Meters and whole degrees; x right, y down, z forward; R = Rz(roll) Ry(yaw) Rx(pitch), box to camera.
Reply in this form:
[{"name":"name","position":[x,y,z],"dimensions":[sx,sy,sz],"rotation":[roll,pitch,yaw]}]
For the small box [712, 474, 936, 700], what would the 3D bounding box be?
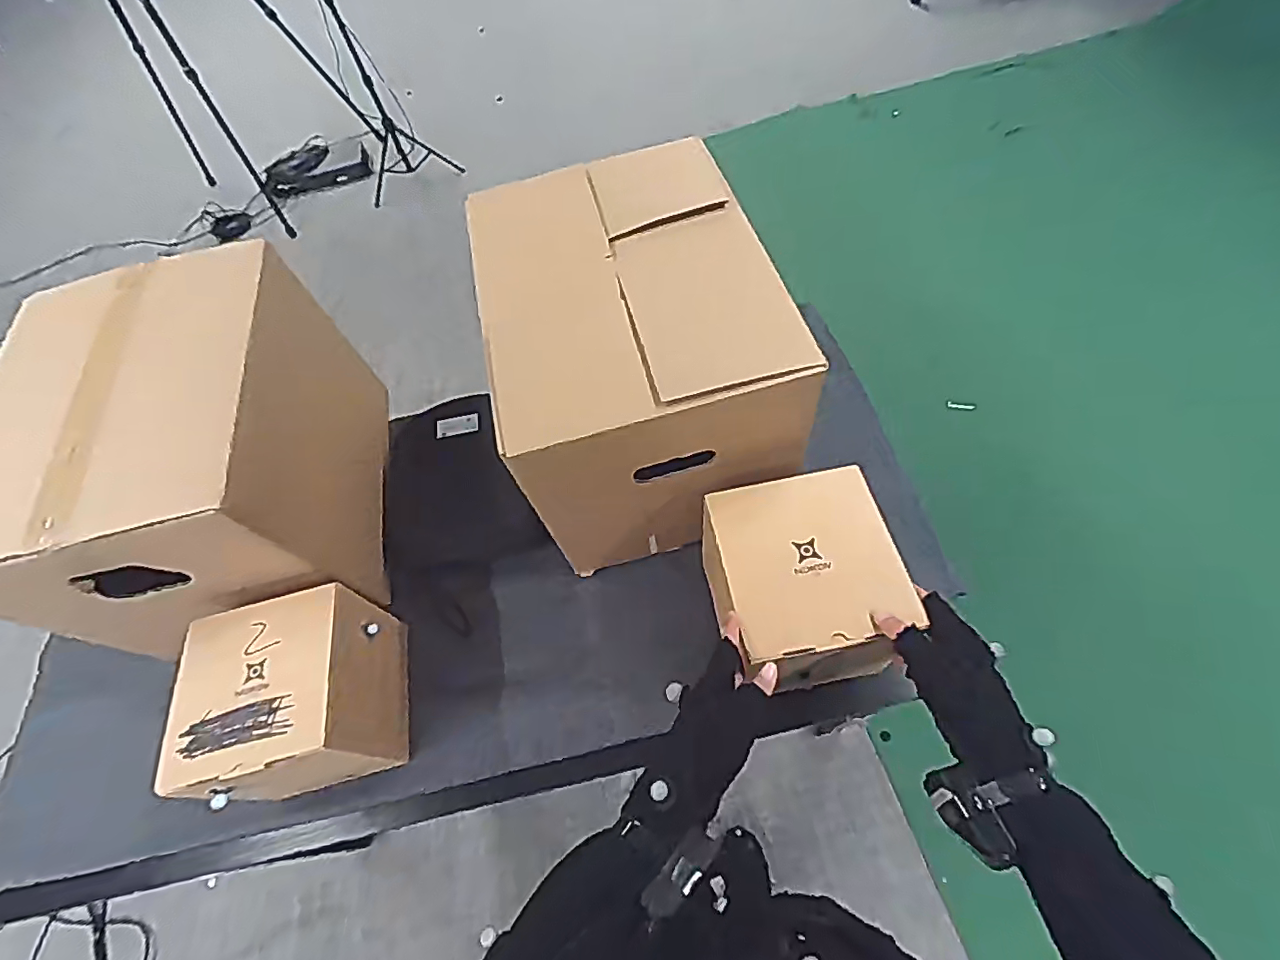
[{"name":"small box","position":[0.175,0.121,0.585],"dimensions":[0.168,0.176,0.179],"rotation":[-11,58,0]}]
